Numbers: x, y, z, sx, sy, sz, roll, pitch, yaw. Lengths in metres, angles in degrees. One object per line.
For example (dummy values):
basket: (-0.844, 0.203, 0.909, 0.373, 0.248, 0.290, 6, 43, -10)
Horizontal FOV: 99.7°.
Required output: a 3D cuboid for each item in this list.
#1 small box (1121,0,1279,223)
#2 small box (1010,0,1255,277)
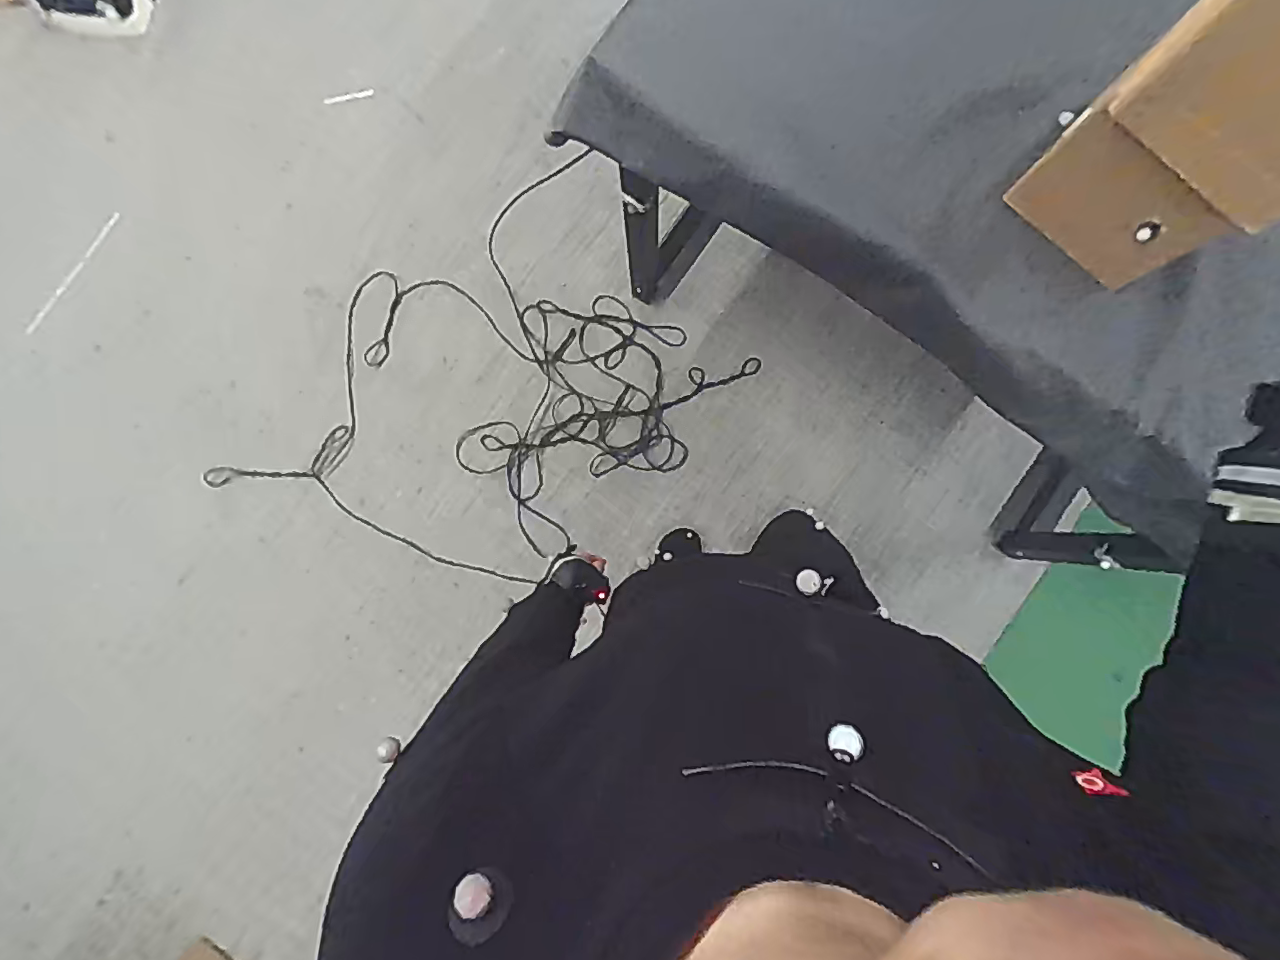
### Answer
small box: (0.549, -0.346, 0.419, 0.168, 0.176, 0.179, -45, 87, -3)
small box: (0.564, -0.350, 0.582, 0.179, 0.176, 0.168, 44, 86, 5)
